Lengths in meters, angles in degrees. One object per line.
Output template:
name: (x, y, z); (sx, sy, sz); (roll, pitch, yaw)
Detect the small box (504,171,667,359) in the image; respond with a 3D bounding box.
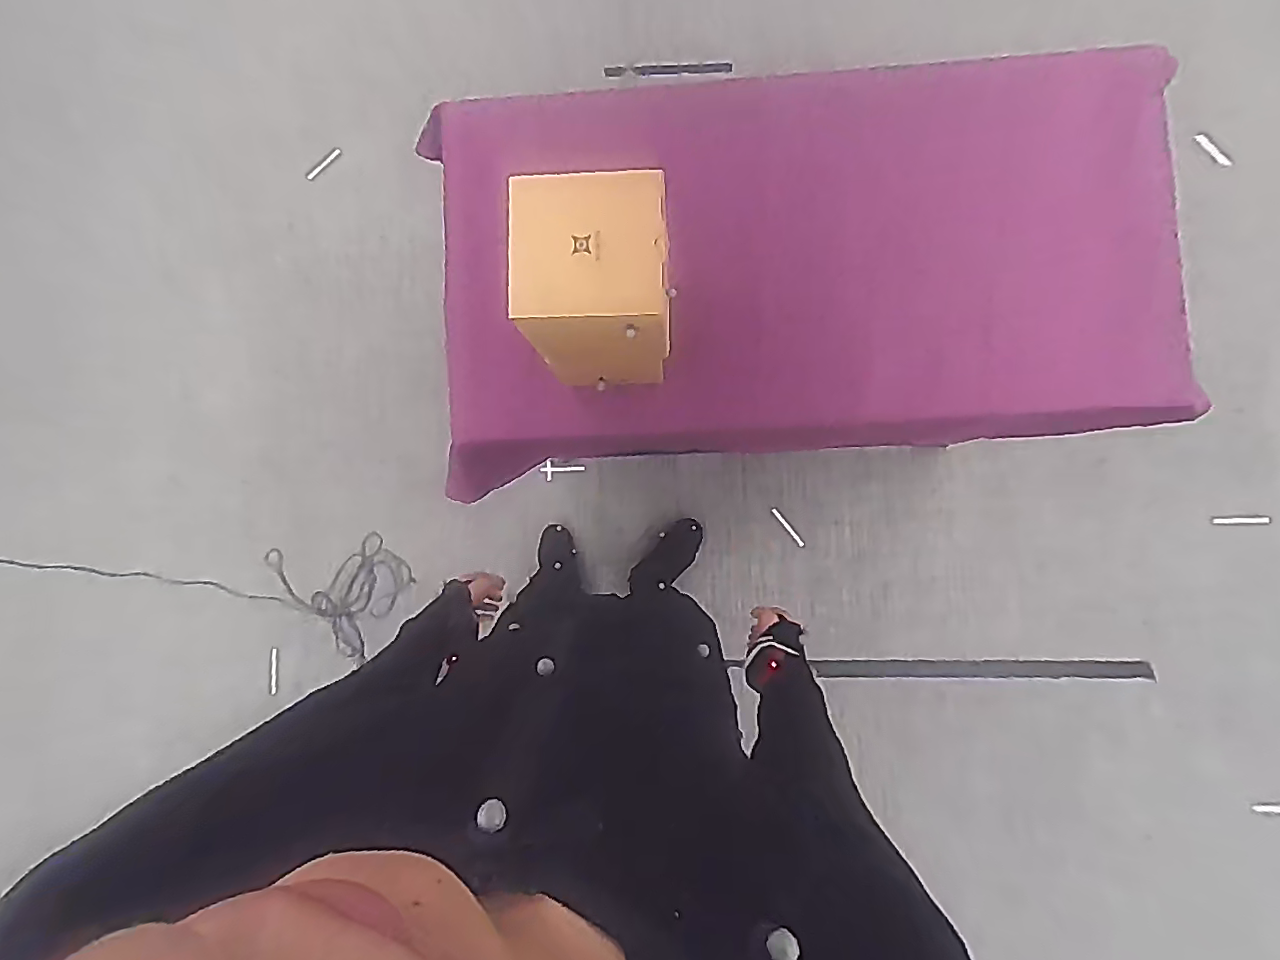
small box: (-0.057, -0.252, 0.672); (0.179, 0.176, 0.168); (0, 88, 4)

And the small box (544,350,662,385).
small box: (-0.050, -0.251, 0.834); (0.168, 0.176, 0.179); (-1, 88, 4)
